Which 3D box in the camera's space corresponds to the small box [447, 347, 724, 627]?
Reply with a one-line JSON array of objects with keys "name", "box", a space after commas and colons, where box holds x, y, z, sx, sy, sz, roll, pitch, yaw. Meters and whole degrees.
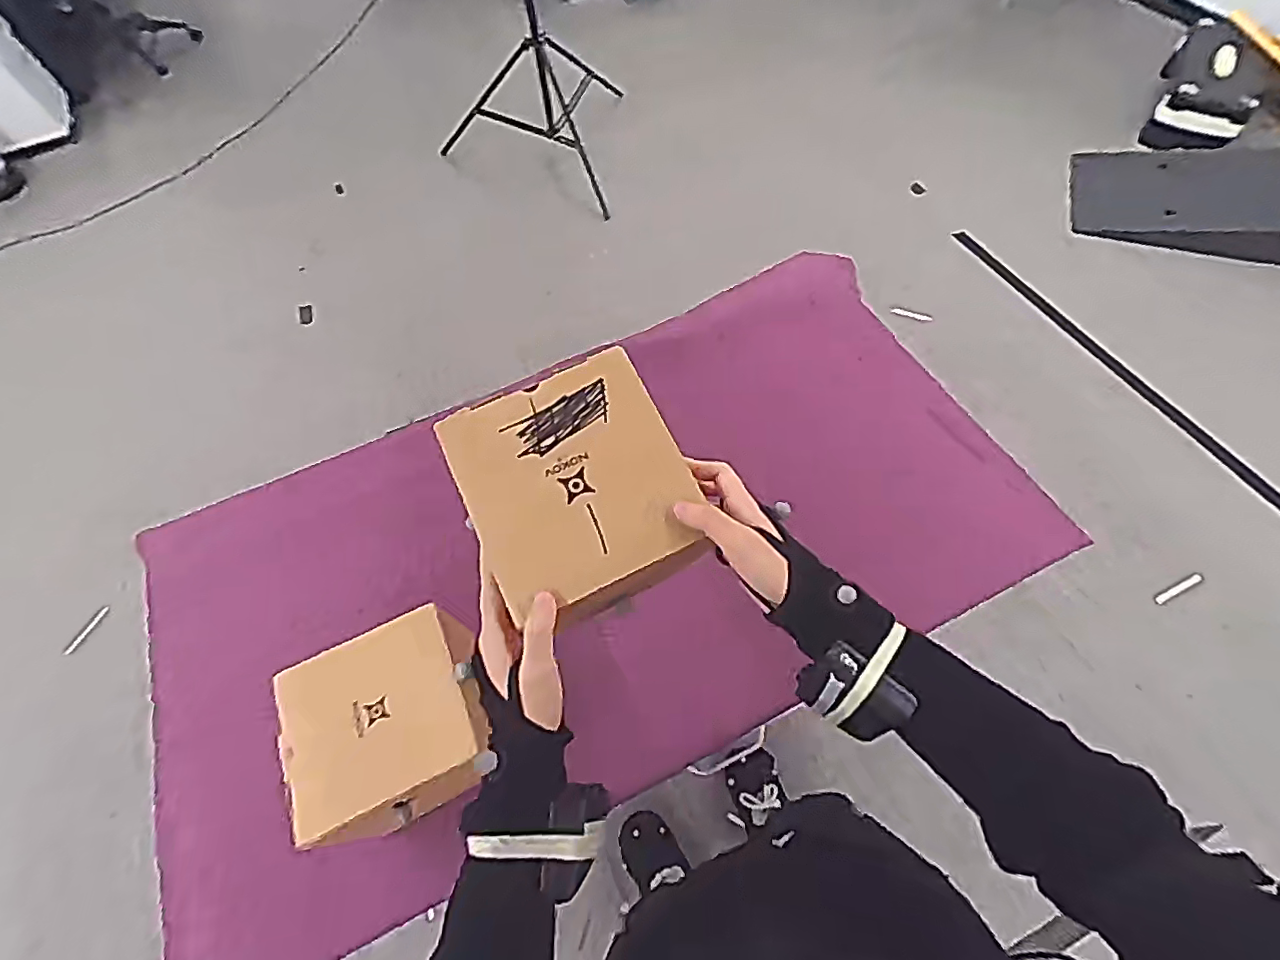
[{"name": "small box", "box": [-0.046, 0.018, 0.492, 0.168, 0.176, 0.179, -25, 74, -7]}]

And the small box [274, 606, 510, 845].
[{"name": "small box", "box": [-0.260, 0.268, 0.604, 0.179, 0.176, 0.168, -25, 63, -8]}]
